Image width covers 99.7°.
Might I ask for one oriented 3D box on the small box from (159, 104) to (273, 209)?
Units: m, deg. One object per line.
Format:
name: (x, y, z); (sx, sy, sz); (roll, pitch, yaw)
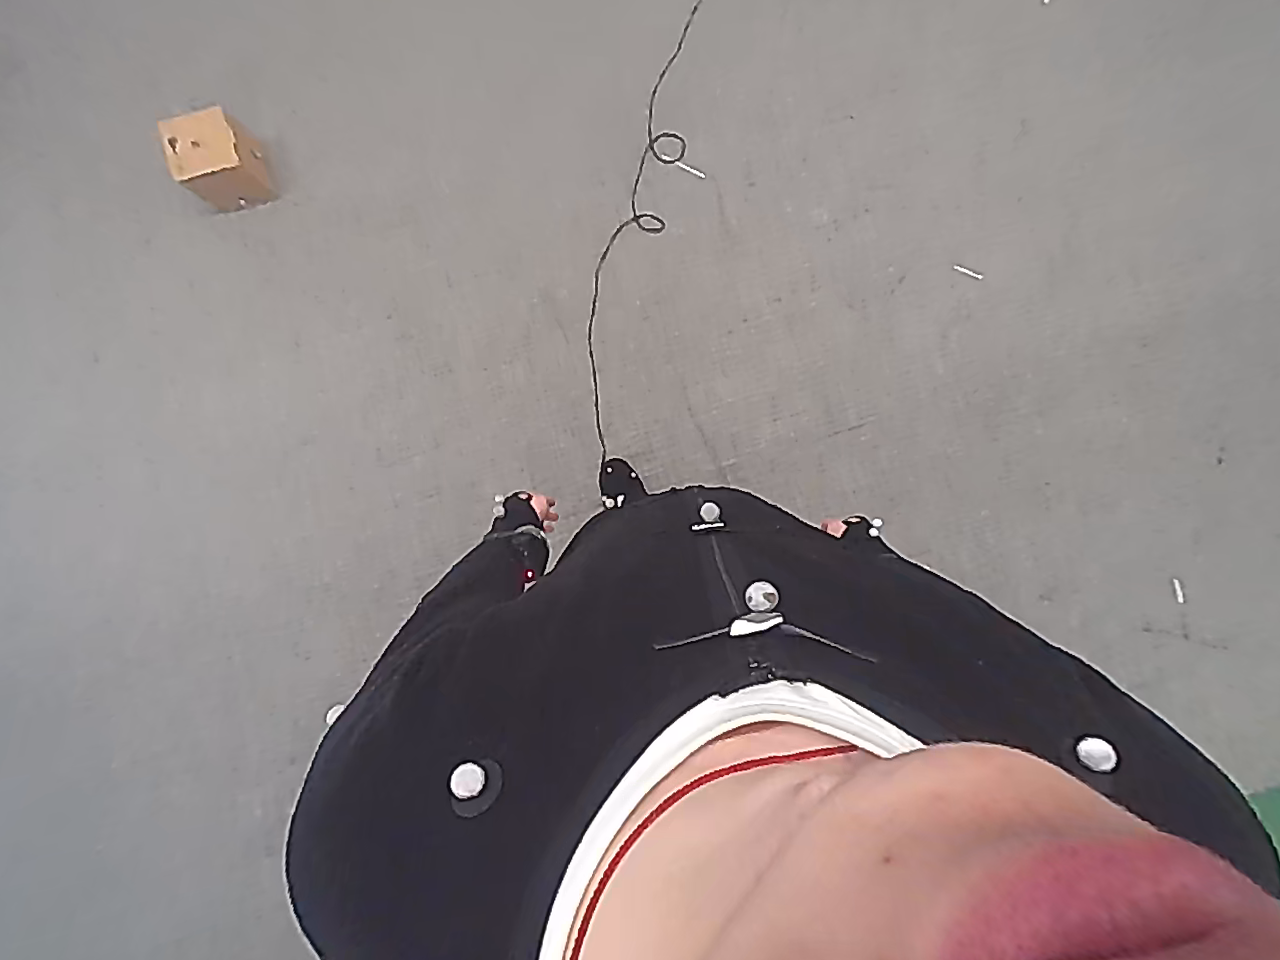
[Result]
small box: (-1.149, -0.880, 1.485); (0.179, 0.176, 0.168); (-16, 88, -1)
